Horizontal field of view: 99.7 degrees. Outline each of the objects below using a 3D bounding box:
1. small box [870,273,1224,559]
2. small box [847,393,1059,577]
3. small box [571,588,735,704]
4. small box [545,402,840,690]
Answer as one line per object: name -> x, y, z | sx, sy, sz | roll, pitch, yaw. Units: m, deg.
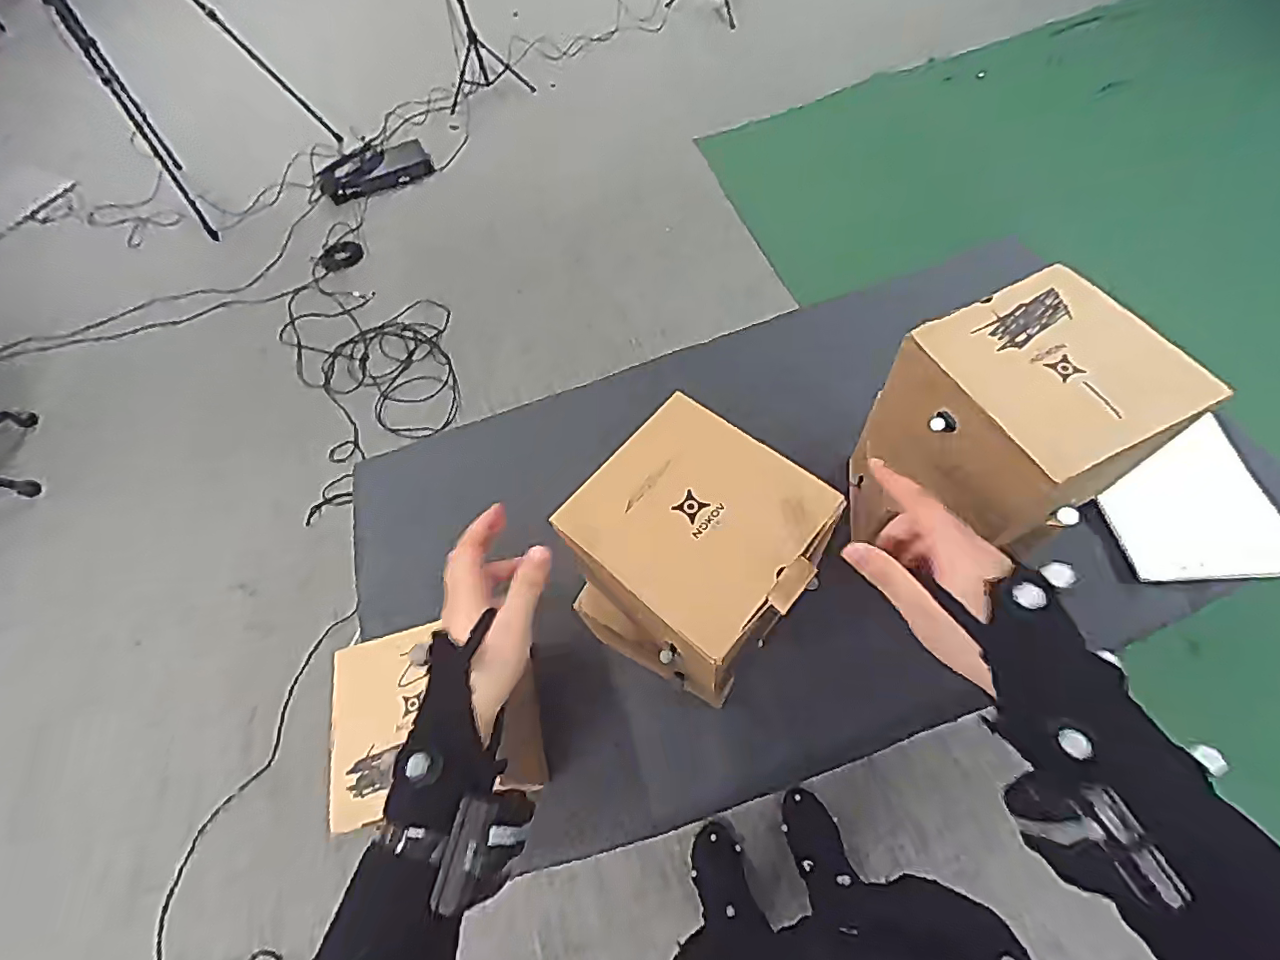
small box -> 0.351, -0.054, 0.516 | 0.168, 0.176, 0.179 | -26, 61, -5
small box -> 0.364, 0.013, 0.667 | 0.179, 0.176, 0.168 | 4, 62, 11
small box -> 0.049, 0.146, 0.639 | 0.179, 0.176, 0.168 | 24, 67, 19
small box -> 0.048, 0.069, 0.494 | 0.179, 0.176, 0.168 | 35, 70, 24
